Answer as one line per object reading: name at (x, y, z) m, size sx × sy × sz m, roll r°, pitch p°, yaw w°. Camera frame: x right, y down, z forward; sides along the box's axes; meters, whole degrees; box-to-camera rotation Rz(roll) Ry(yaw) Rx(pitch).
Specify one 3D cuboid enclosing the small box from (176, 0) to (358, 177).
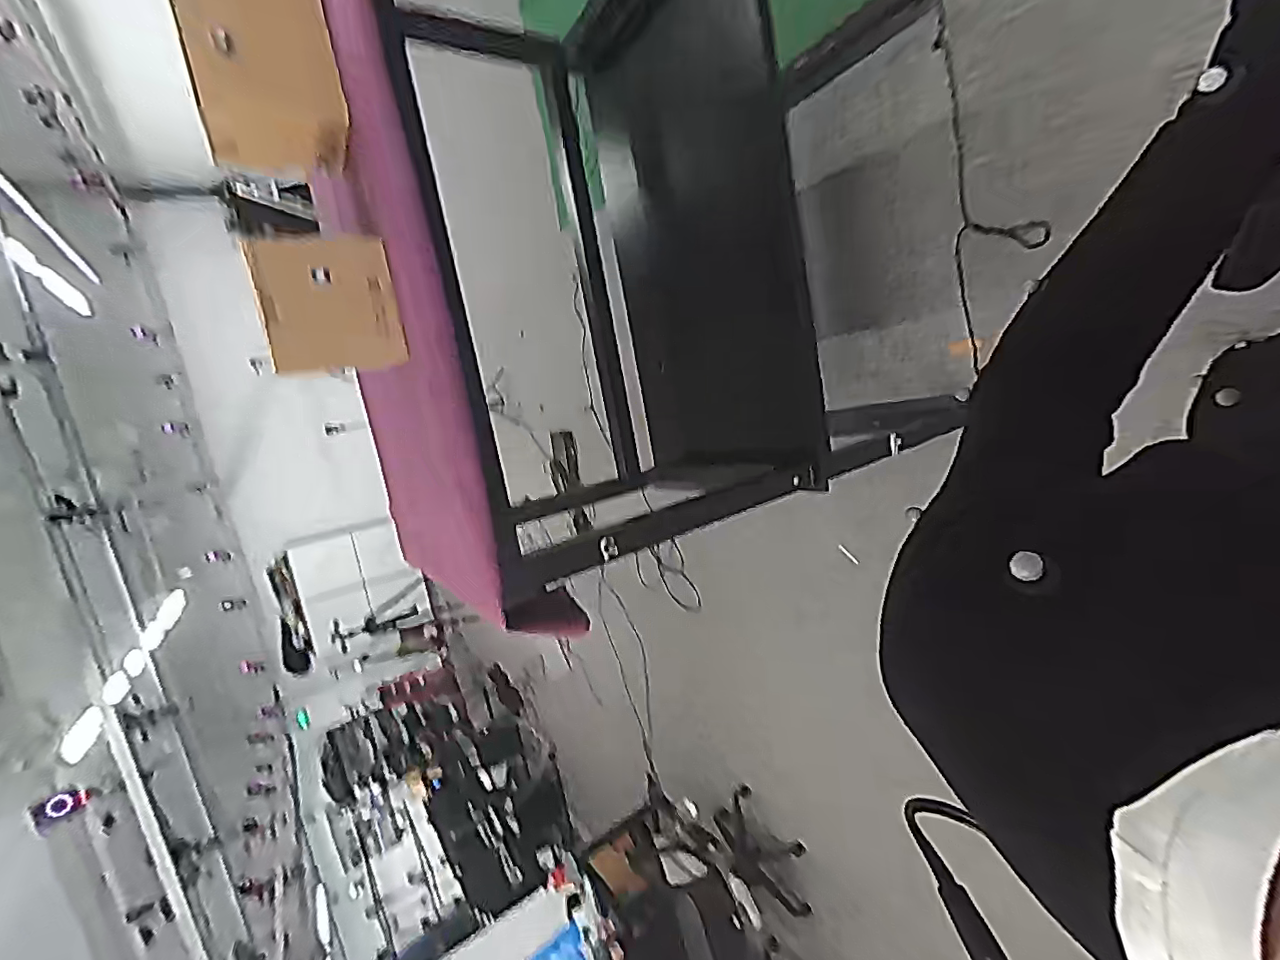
small box at (-0.506, -0.544, 0.749) m, size 0.168 × 0.176 × 0.179 m, roll 1°, pitch 104°, yaw 57°

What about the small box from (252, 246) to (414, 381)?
small box at (-0.446, -0.241, 0.795) m, size 0.179 × 0.176 × 0.168 m, roll 12°, pitch 113°, yaw 55°
